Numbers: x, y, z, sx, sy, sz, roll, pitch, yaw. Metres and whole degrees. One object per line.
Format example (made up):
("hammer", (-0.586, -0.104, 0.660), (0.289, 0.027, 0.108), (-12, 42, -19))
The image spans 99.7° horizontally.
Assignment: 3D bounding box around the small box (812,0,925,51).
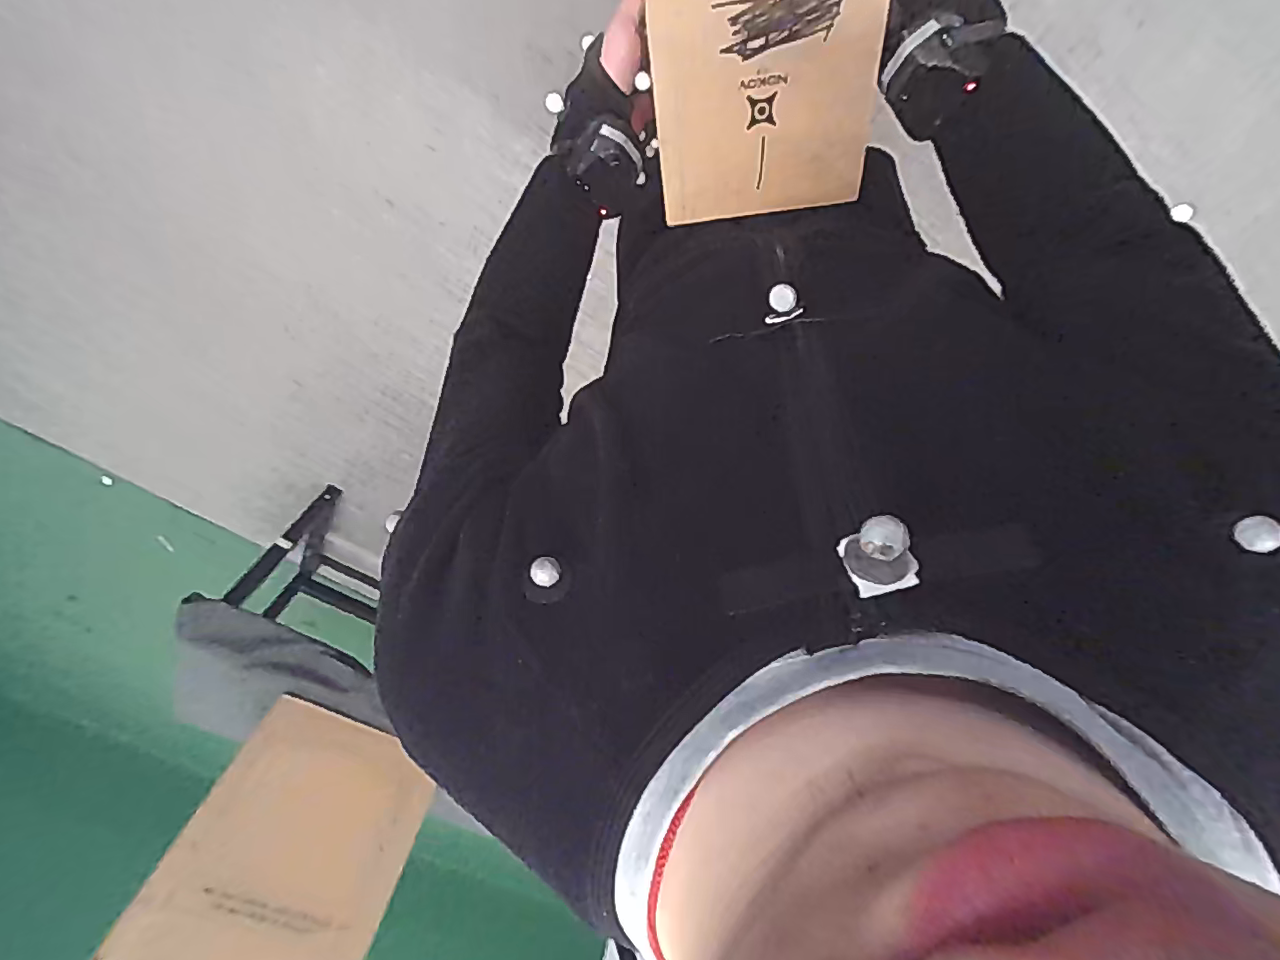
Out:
("small box", (0.411, -0.915, 0.994), (0.179, 0.176, 0.168), (-7, 126, 15))
